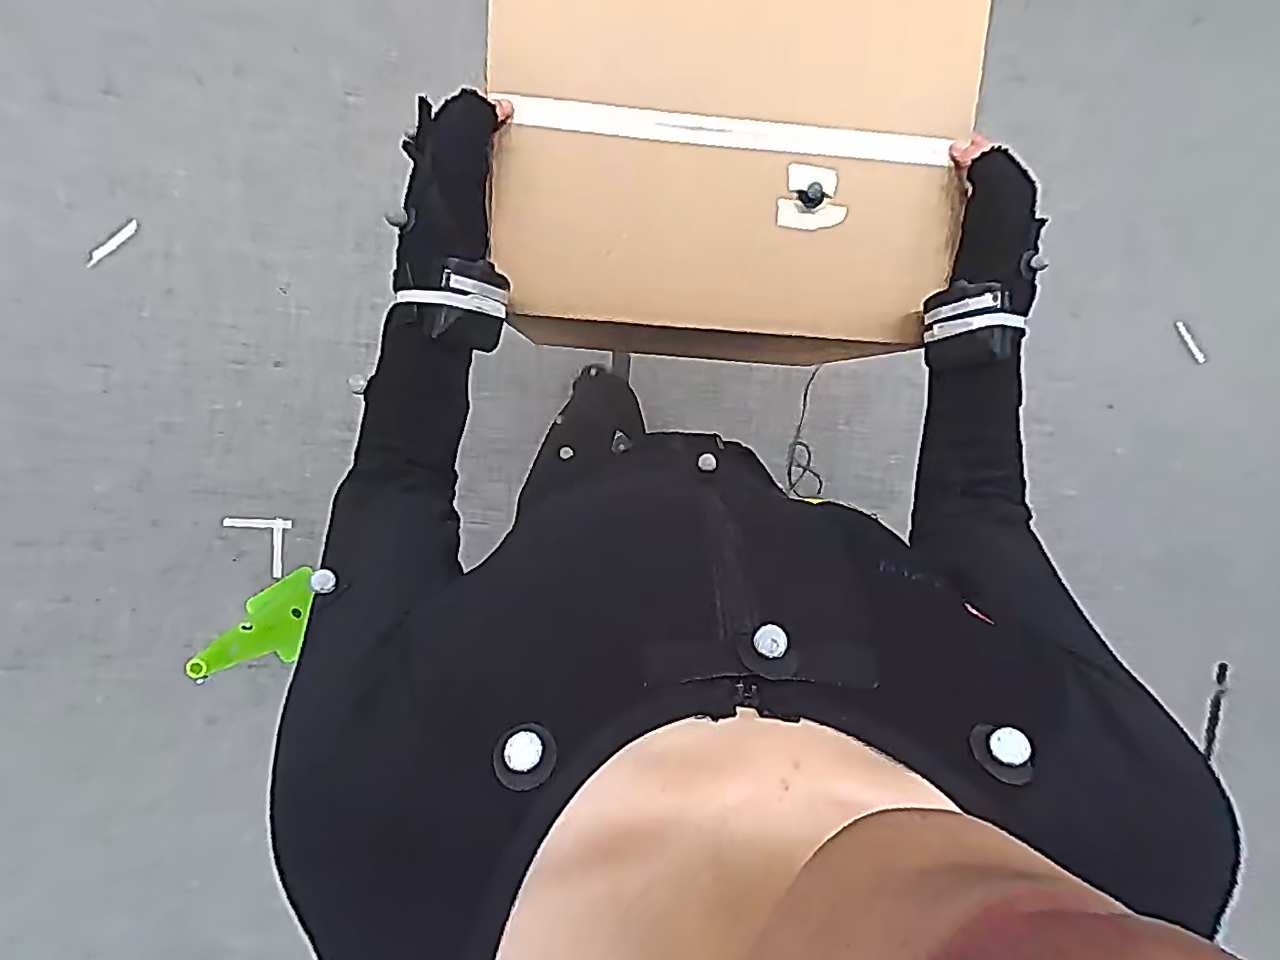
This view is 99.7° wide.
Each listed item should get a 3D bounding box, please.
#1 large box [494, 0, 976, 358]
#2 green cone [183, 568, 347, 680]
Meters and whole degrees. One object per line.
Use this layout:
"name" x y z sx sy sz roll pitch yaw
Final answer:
"large box" 0.067 -0.314 0.601 0.408 0.320 0.320 3 99 -5
"green cone" -0.906 0.369 1.271 0.202 0.368 0.200 -33 94 1
